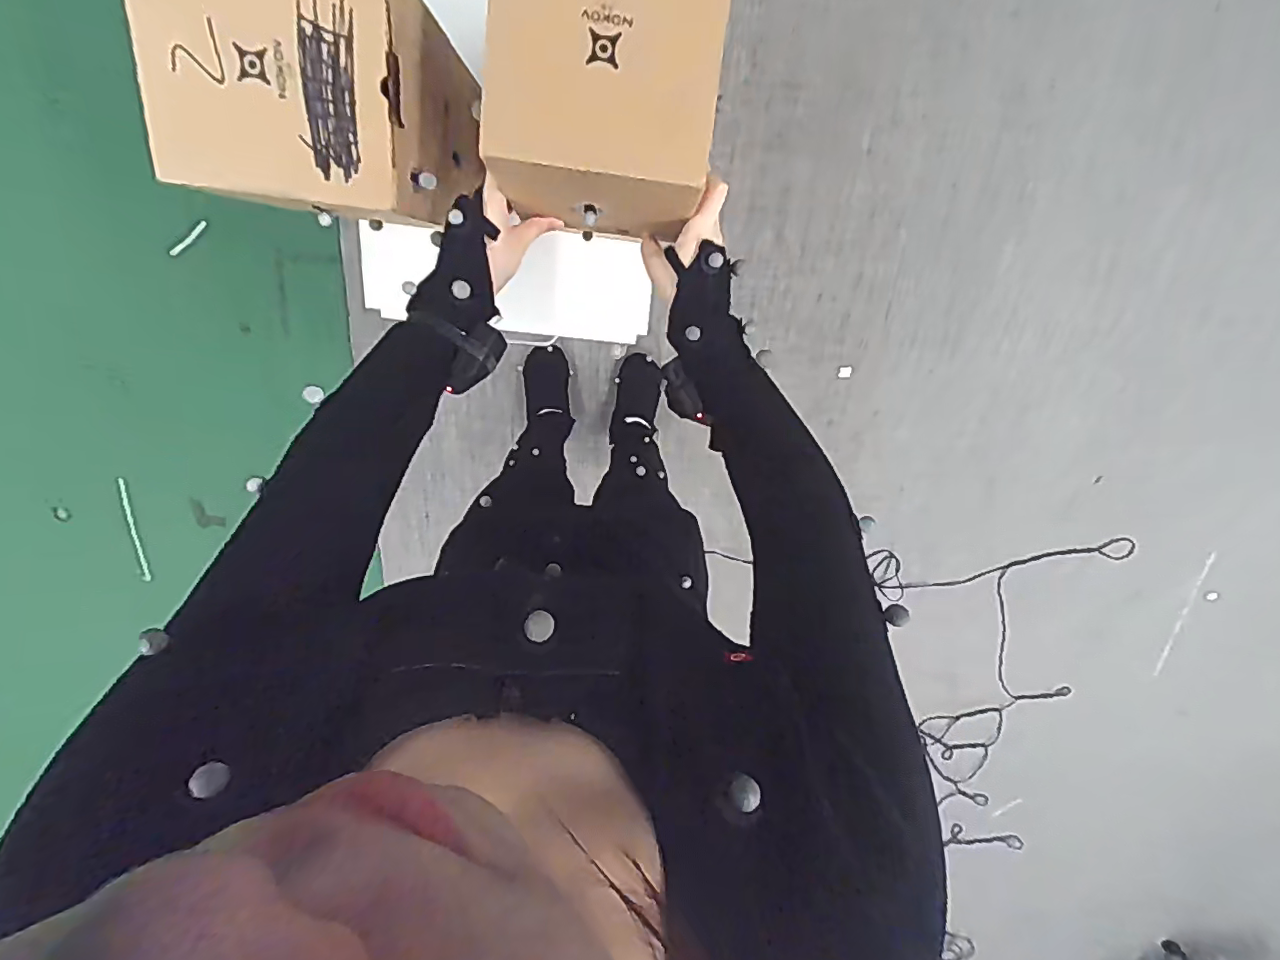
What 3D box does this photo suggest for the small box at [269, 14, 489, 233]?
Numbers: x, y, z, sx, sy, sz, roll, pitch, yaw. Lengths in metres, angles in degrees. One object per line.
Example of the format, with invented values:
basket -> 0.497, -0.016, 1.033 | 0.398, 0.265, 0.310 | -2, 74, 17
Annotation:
small box -> -0.279, -0.384, 0.617 | 0.179, 0.176, 0.168 | 4, 111, -7

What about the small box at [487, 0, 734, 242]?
small box -> -0.024, -0.320, 0.462 | 0.168, 0.176, 0.179 | 7, 100, -5
